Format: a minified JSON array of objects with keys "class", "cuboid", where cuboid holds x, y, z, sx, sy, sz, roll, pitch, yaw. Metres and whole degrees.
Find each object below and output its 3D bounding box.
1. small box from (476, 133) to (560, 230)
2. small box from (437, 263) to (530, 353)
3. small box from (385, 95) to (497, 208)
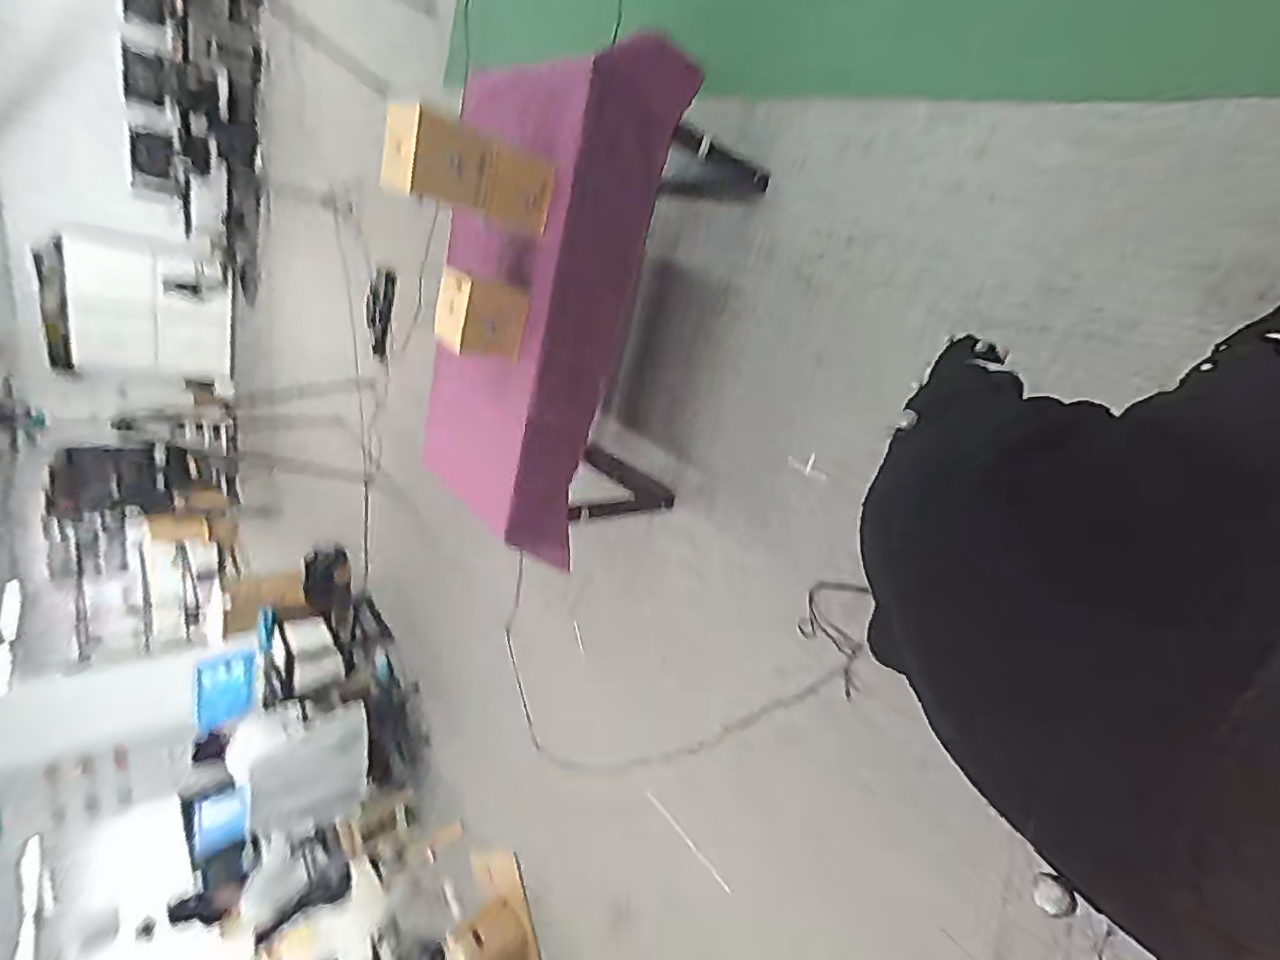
[{"class":"small box","cuboid":[-0.322,-0.726,1.313,0.179,0.176,0.168,37,118,37]},{"class":"small box","cuboid":[-0.408,-0.444,1.414,0.168,0.176,0.179,37,118,38]},{"class":"small box","cuboid":[-0.439,-0.720,1.196,0.179,0.176,0.168,36,116,38]}]
